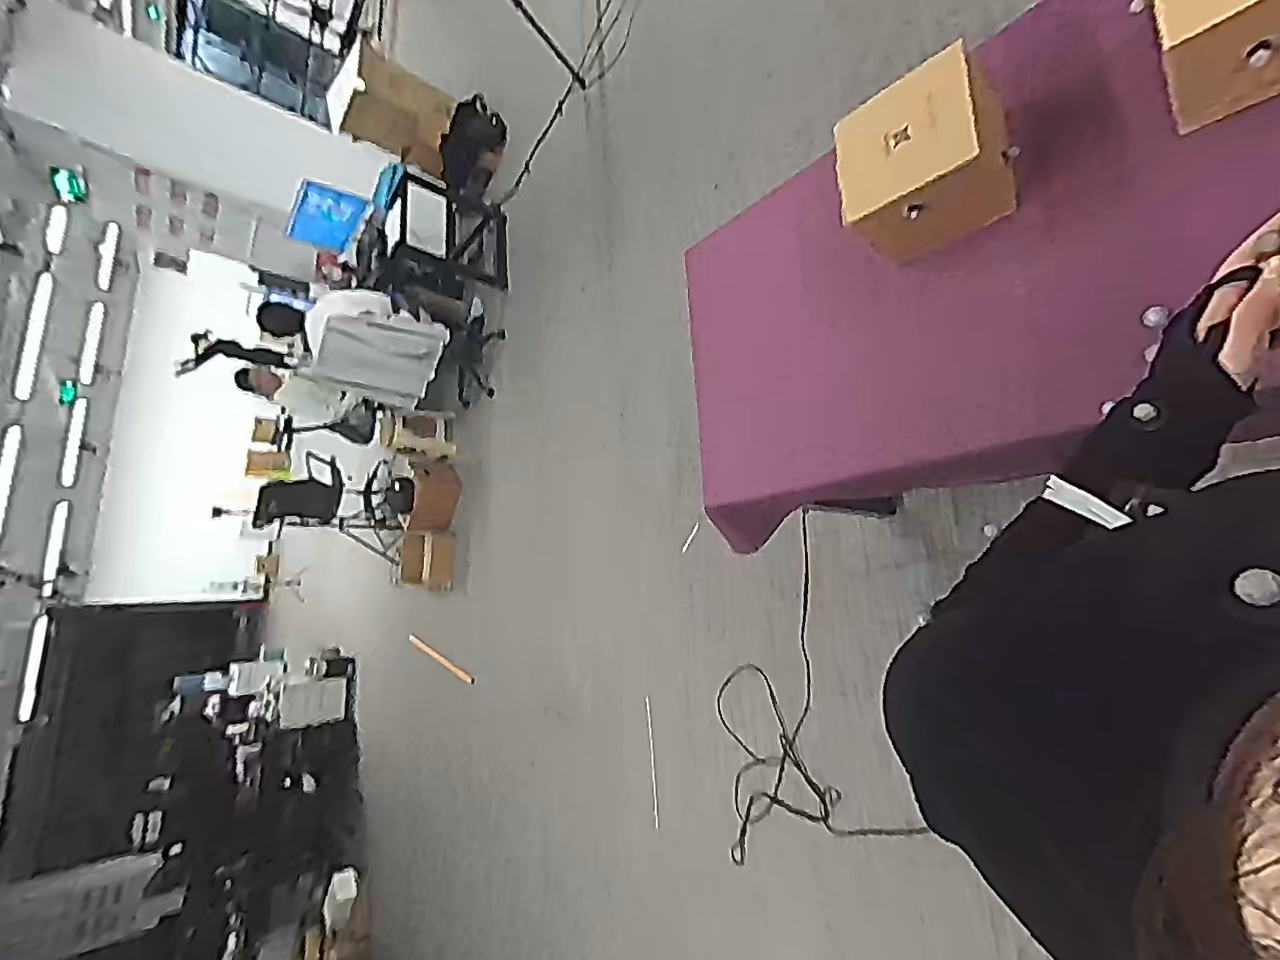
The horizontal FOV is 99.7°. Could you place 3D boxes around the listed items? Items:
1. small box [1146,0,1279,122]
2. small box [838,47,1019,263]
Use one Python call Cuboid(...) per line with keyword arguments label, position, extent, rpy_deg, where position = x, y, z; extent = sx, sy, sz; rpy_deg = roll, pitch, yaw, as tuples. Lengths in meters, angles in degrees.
Cuboid(label="small box", position=(0.624, -0.500, 0.535), extent=(0.168, 0.176, 0.179), rpy_deg=(-12, 74, 49))
Cuboid(label="small box", position=(0.410, -0.444, 0.777), extent=(0.179, 0.176, 0.168), rpy_deg=(-12, 75, 47))
